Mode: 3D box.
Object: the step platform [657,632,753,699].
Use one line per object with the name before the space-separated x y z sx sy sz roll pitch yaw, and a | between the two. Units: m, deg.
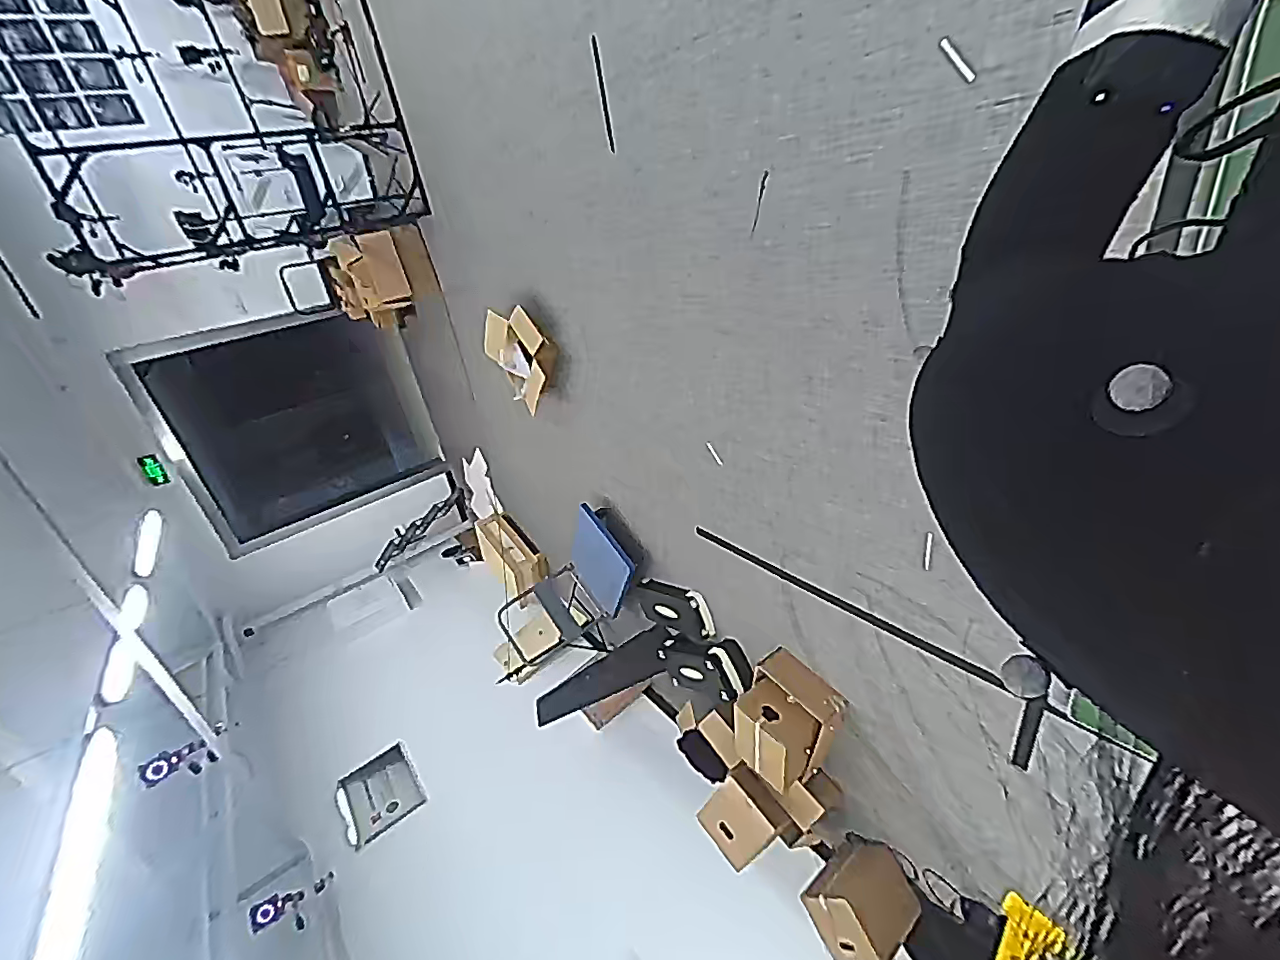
step platform | 0.370 1.116 3.286 0.684 0.204 0.286 -23 94 60
